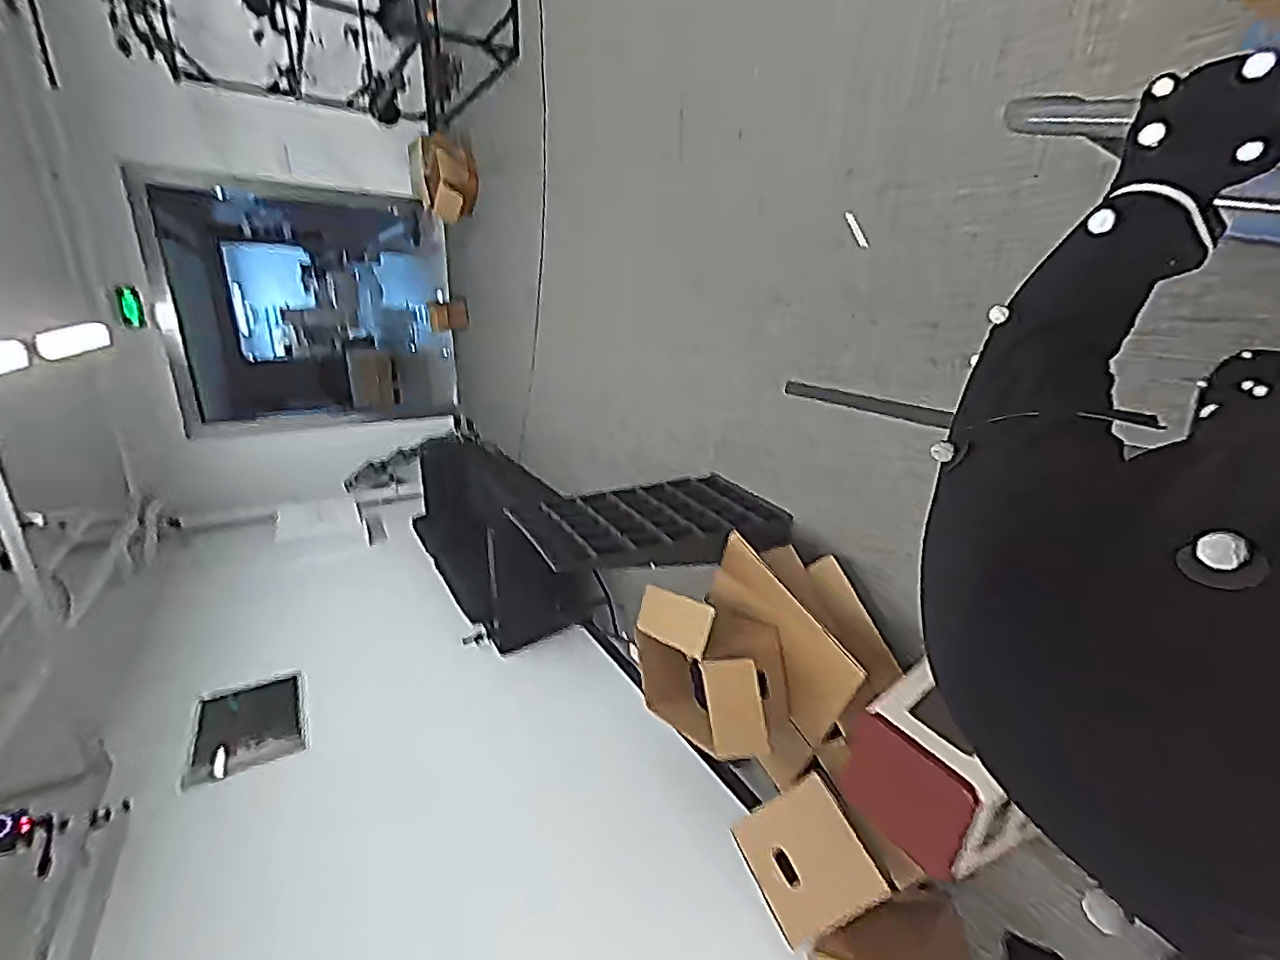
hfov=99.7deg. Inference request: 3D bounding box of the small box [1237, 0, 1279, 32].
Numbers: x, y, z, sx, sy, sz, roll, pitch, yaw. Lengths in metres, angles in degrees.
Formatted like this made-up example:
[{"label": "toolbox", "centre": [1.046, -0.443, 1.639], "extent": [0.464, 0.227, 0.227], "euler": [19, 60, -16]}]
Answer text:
[{"label": "small box", "centre": [0.946, -0.708, 0.702], "extent": [0.179, 0.176, 0.168], "euler": [45, 134, 42]}]
